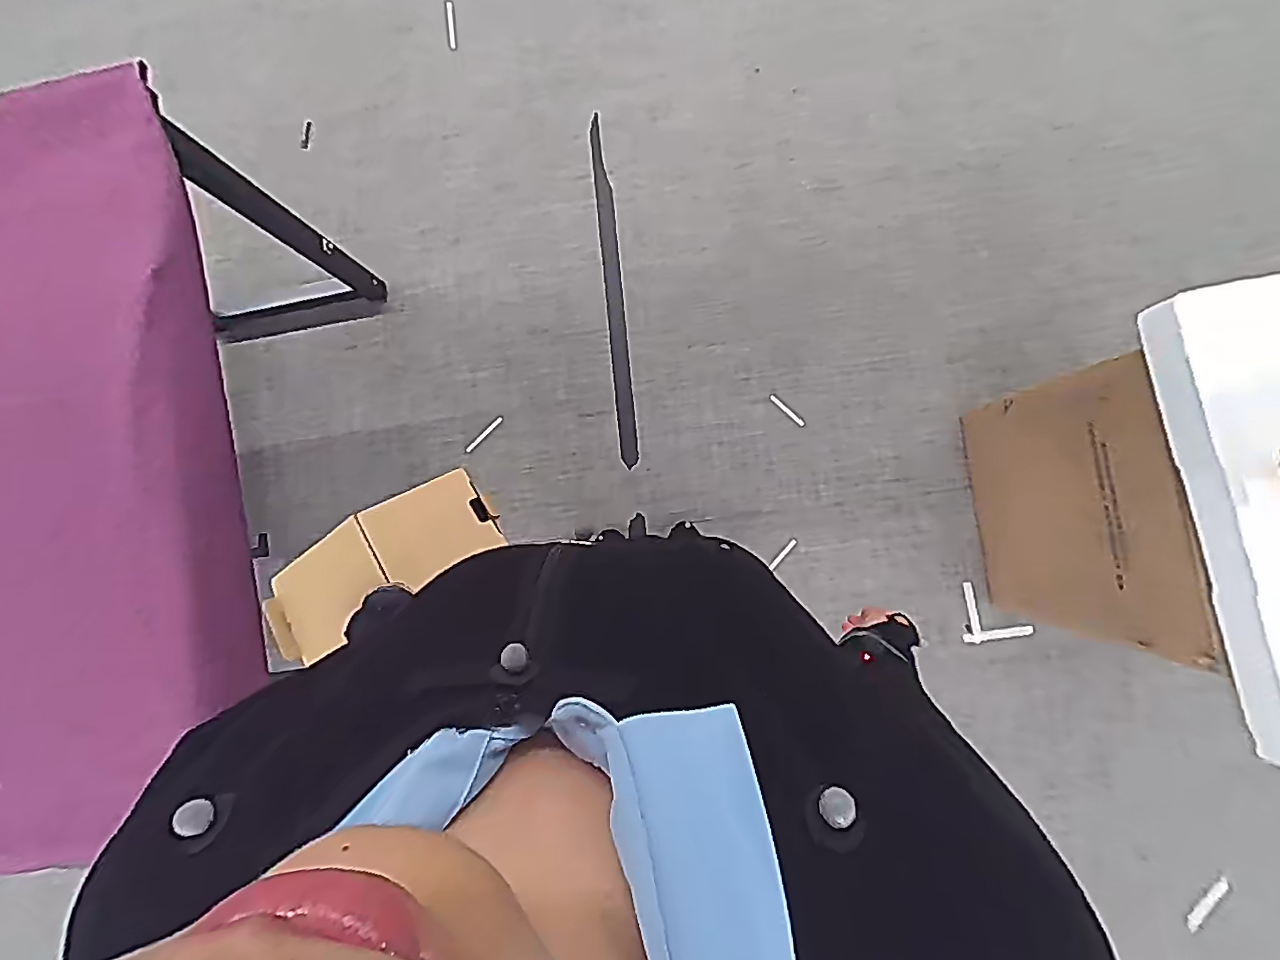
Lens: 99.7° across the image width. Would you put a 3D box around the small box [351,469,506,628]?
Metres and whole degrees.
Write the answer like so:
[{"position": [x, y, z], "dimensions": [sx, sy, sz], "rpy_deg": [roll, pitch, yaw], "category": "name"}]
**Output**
[{"position": [-0.330, 0.118, 0.877], "dimensions": [0.179, 0.176, 0.168], "rpy_deg": [-28, 73, -24], "category": "small box"}]
